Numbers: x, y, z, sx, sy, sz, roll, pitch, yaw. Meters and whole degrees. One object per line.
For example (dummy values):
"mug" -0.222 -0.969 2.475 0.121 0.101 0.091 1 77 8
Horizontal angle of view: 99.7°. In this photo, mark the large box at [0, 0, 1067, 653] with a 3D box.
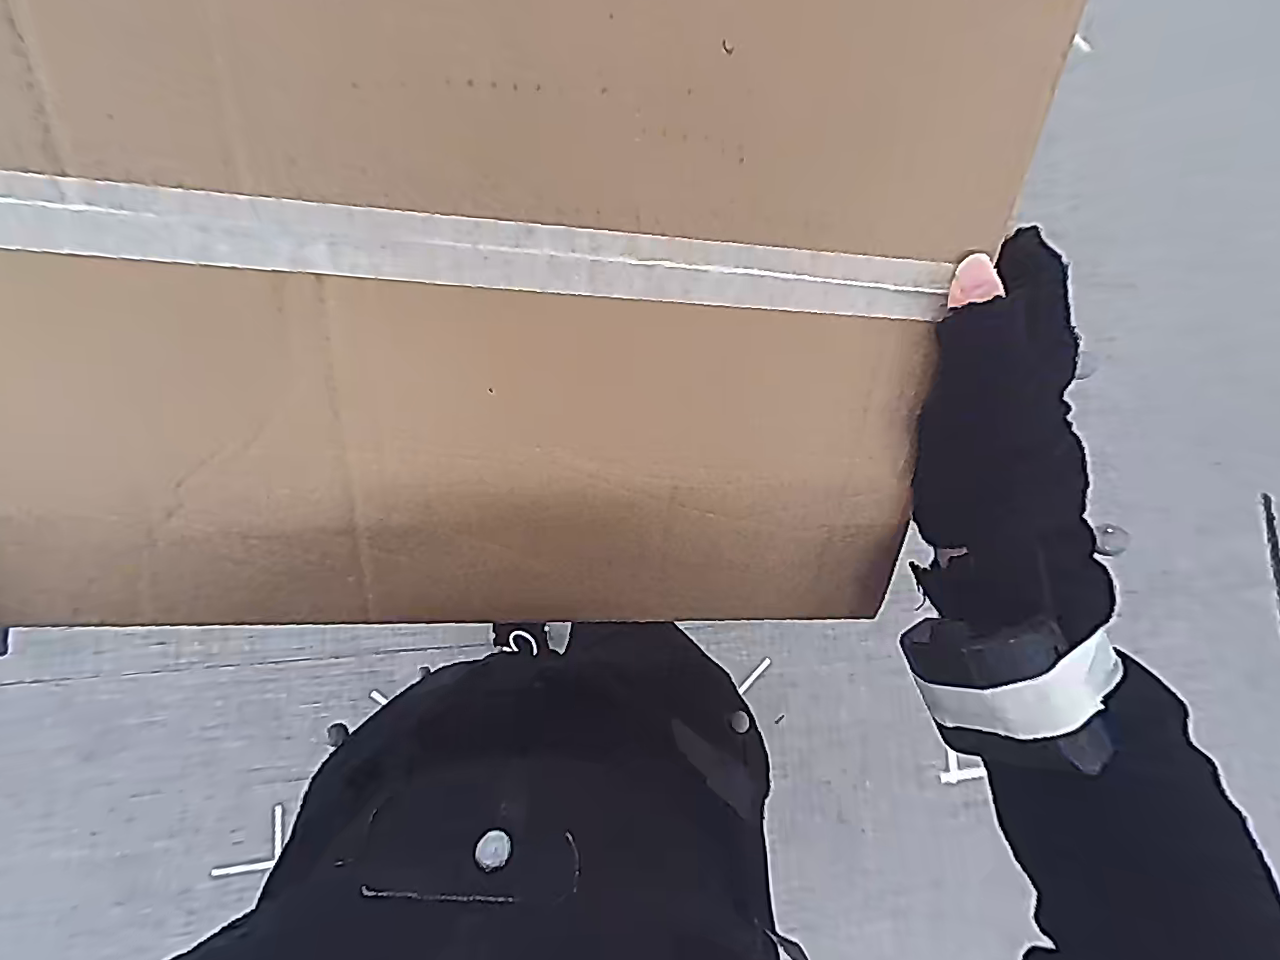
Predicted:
"large box" -0.086 -0.126 0.323 0.408 0.320 0.320 2 115 -9
